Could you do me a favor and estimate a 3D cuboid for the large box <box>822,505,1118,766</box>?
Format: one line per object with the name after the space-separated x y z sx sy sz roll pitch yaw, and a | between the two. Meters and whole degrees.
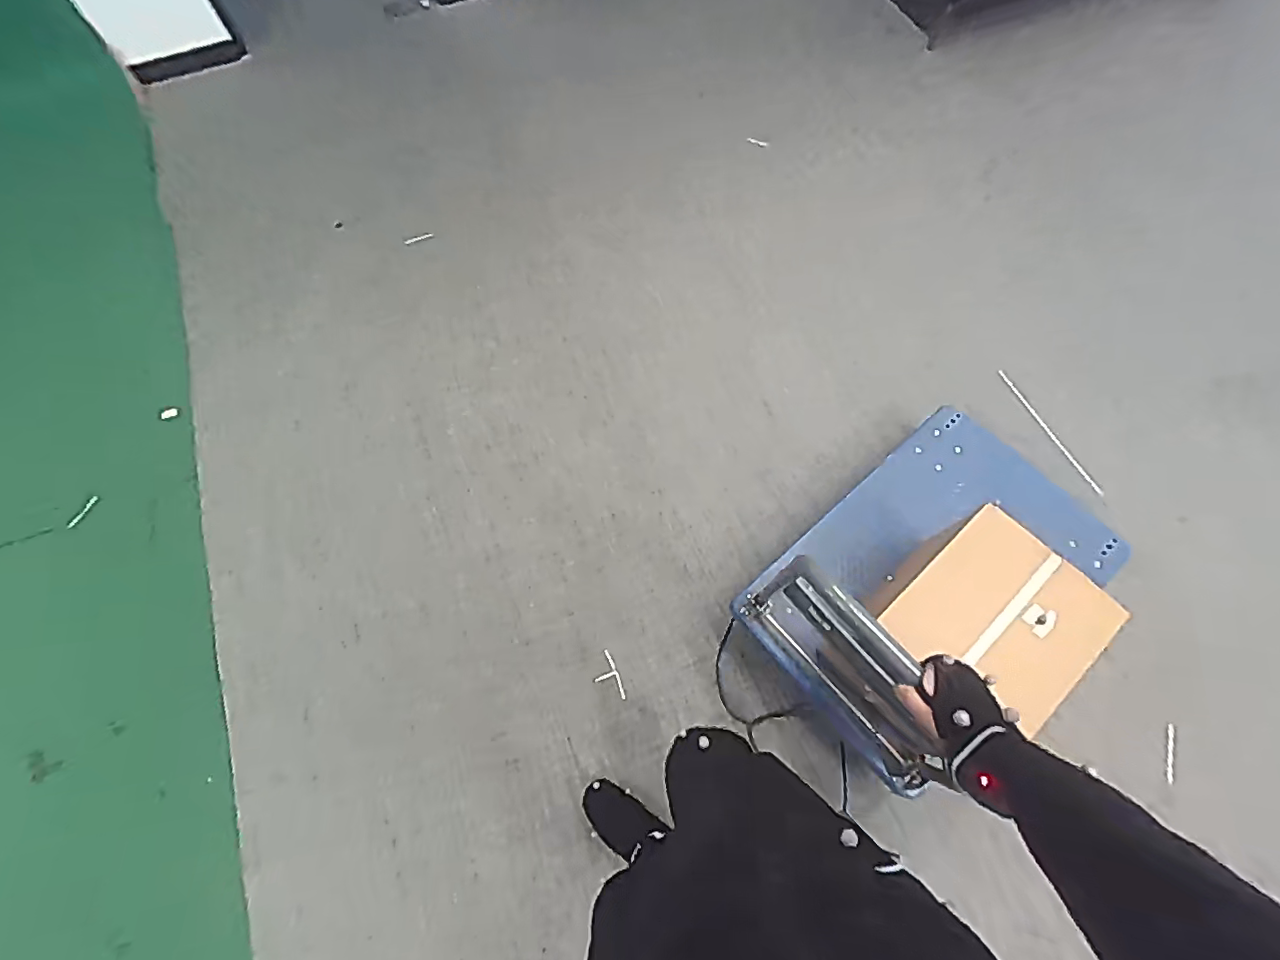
0.674 0.335 1.169 0.408 0.320 0.320 -39 72 -14 | large box
